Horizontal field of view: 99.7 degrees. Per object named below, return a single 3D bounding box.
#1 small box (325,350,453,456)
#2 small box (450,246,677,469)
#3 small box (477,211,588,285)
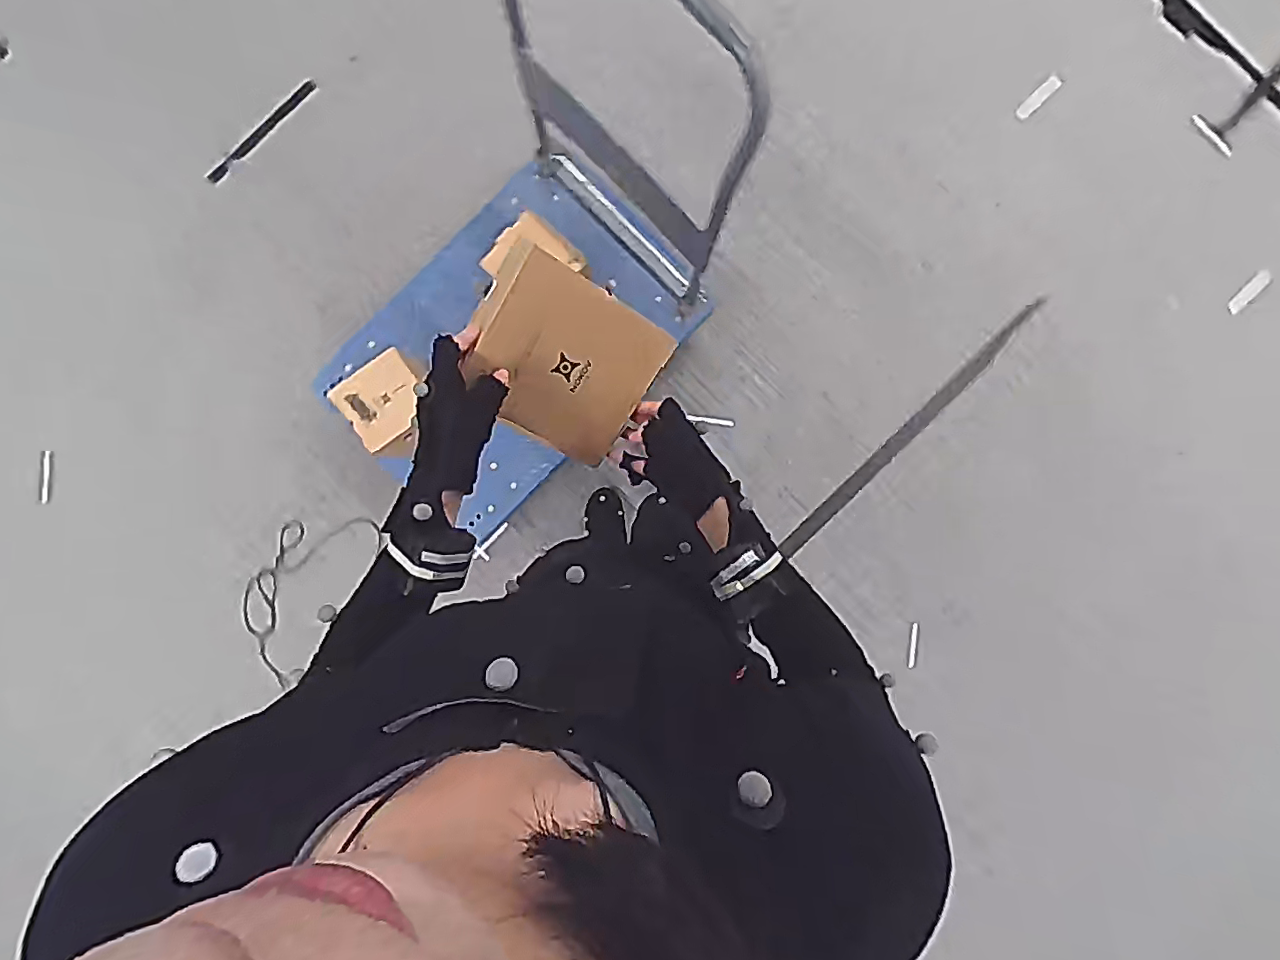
[{"bbox_3d":[-0.566,-0.167,1.243,0.179,0.176,0.168,-36,91,-1],"label":"small box"},{"bbox_3d":[-0.093,-0.145,0.611,0.179,0.176,0.168,28,104,-26],"label":"small box"},{"bbox_3d":[-0.236,-0.467,1.246,0.179,0.176,0.168,41,91,0],"label":"small box"}]
